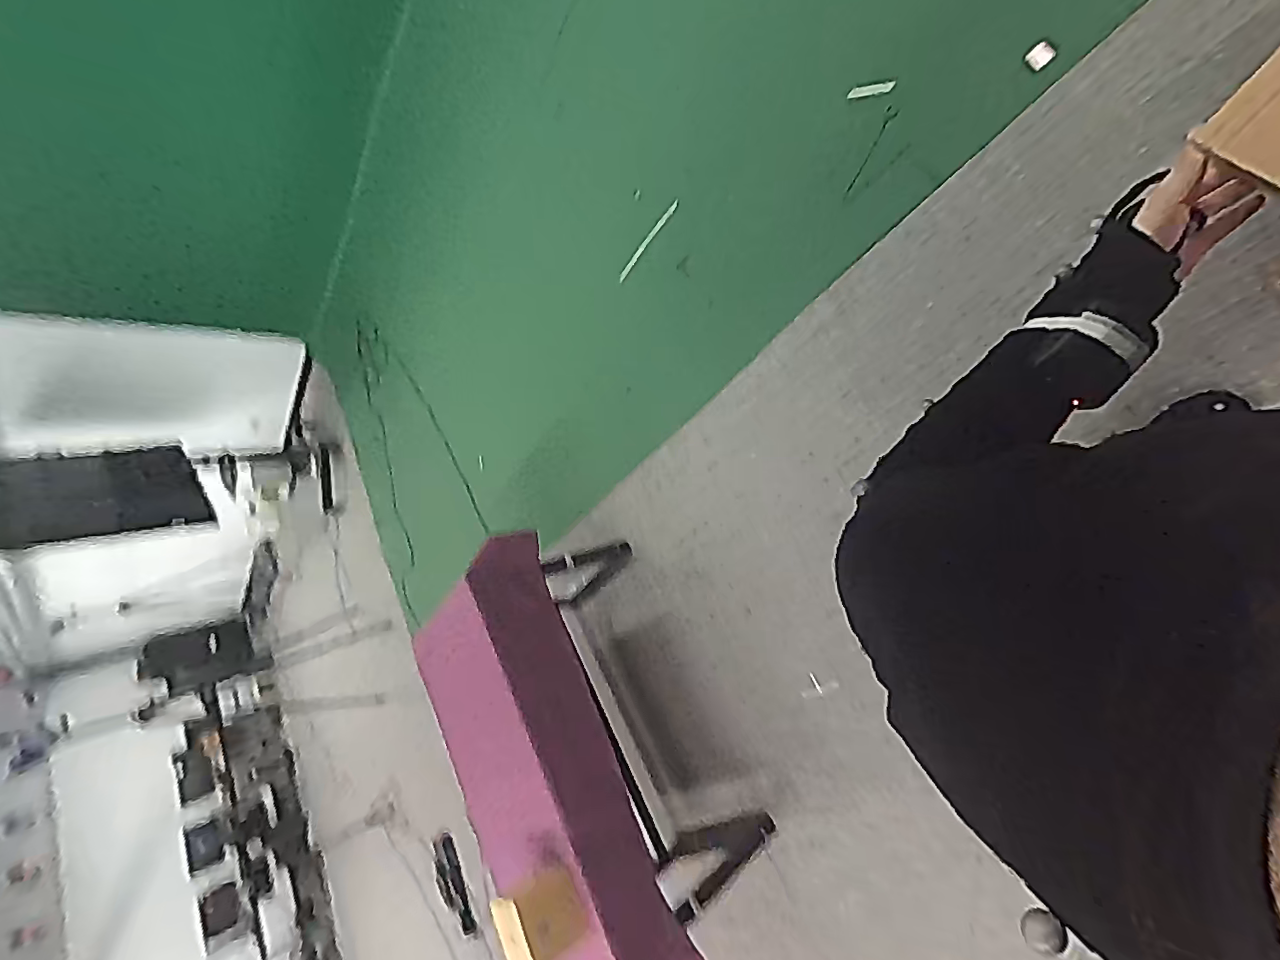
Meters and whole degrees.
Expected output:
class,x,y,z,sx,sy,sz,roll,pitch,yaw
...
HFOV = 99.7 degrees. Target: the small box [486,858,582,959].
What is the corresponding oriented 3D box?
class,x,y,z,sx,sy,sz,roll,pitch,yaw
small box,-0.282,1.158,1.451,0.168,0.176,0.179,-41,67,40
